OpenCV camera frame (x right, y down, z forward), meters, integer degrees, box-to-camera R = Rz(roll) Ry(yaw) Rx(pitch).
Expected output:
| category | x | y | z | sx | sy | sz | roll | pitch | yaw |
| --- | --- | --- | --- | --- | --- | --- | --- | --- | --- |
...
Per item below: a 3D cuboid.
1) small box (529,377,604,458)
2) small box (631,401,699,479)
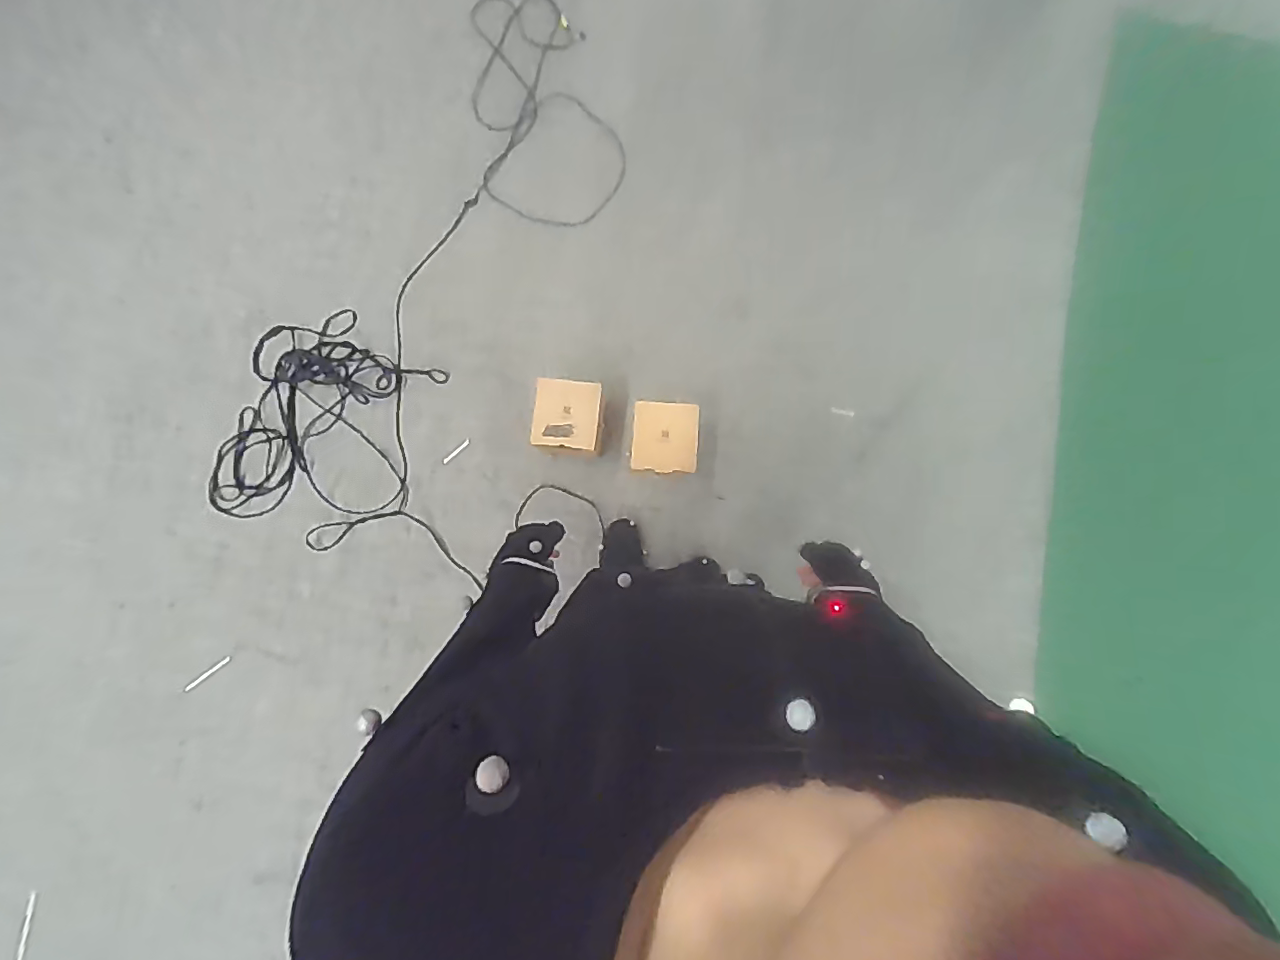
| category | x | y | z | sx | sy | sz | roll | pitch | yaw |
| --- | --- | --- | --- | --- | --- | --- | --- | --- | --- |
| small box | -0.188 | -0.158 | 1.431 | 0.168 | 0.176 | 0.179 | 6 | 84 | 0 |
| small box | 0.062 | -0.101 | 1.430 | 0.168 | 0.176 | 0.179 | 3 | 86 | 0 |
